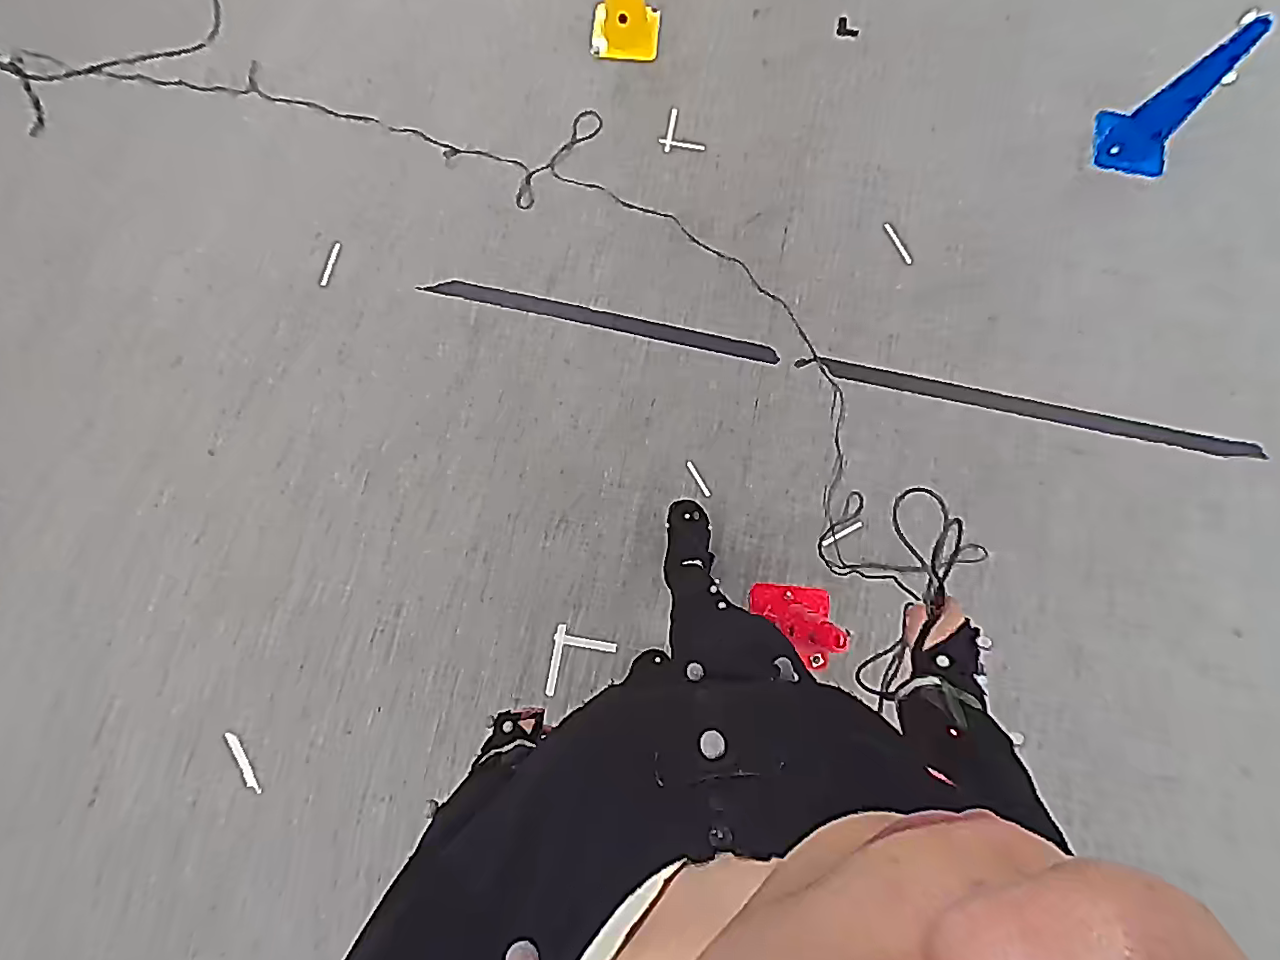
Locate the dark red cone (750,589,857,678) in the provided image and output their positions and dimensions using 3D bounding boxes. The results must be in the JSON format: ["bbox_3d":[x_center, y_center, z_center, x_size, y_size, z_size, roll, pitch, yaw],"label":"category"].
[{"bbox_3d":[0.368,0.335,1.141,0.202,0.394,0.201,4,78,1],"label":"dark red cone"}]

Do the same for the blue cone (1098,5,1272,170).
[{"bbox_3d":[1.440,-1.033,1.424,0.193,0.380,0.192,12,78,3],"label":"blue cone"}]
